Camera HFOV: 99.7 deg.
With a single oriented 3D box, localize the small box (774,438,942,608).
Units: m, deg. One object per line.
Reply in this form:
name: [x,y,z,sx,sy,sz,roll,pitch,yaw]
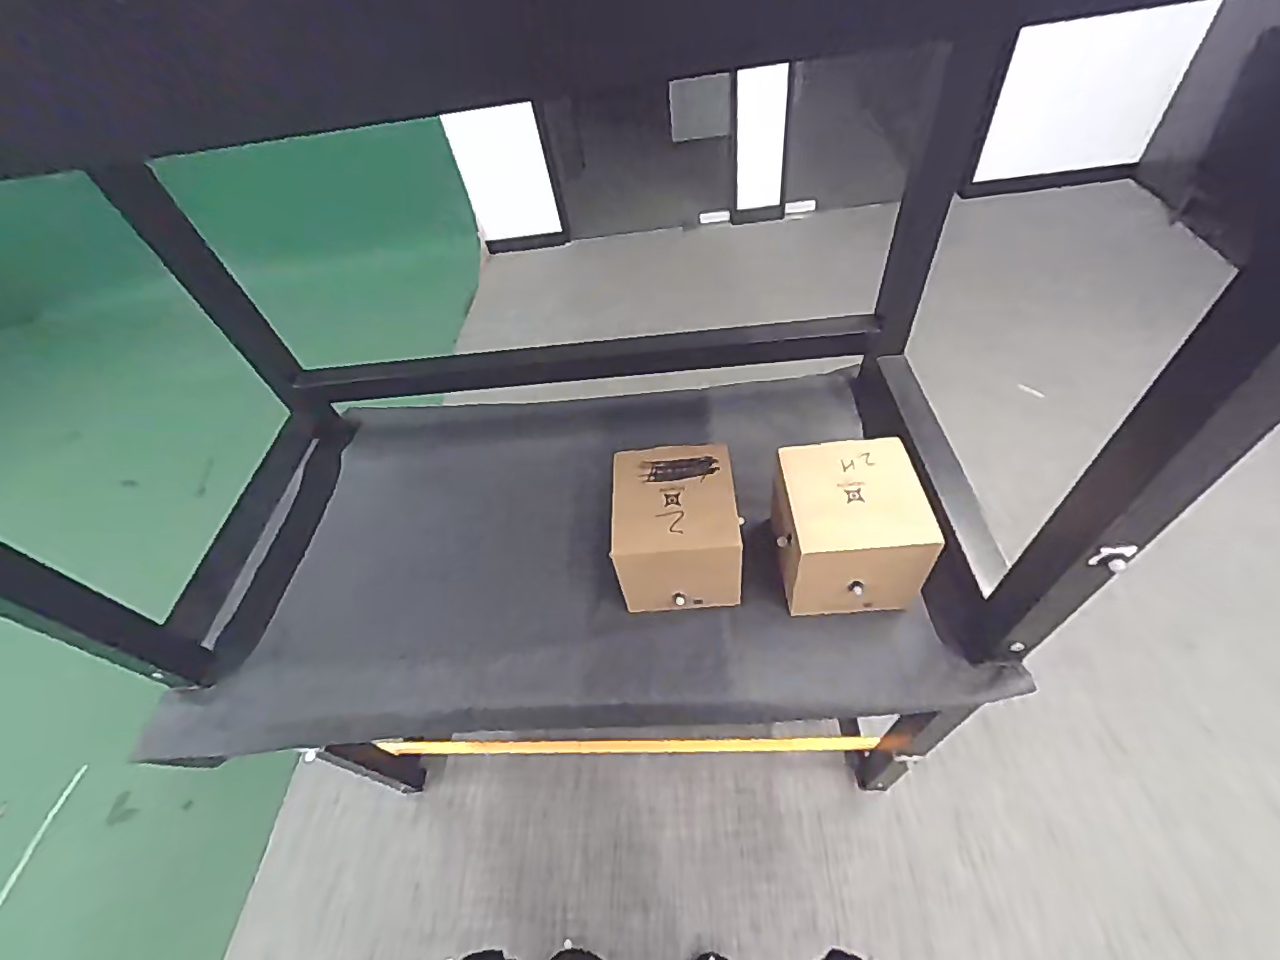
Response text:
small box: [0.284,0.068,0.751,0.168,0.176,0.179,-5,49,5]
